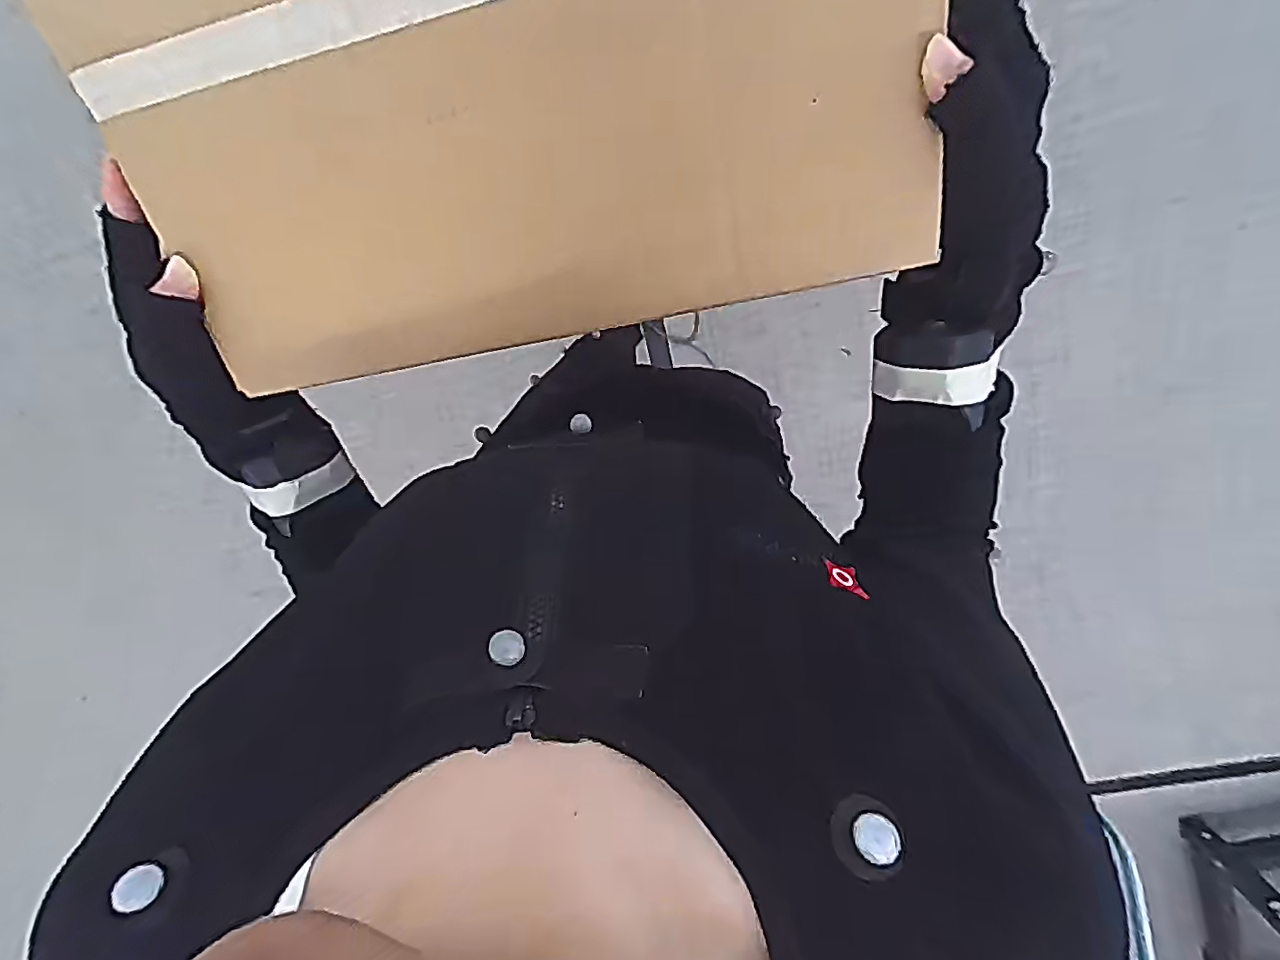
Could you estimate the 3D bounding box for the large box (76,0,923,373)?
[{"bbox_3d":[-0.068,-0.297,0.385,0.408,0.320,0.320,-9,115,9],"label":"large box"}]
